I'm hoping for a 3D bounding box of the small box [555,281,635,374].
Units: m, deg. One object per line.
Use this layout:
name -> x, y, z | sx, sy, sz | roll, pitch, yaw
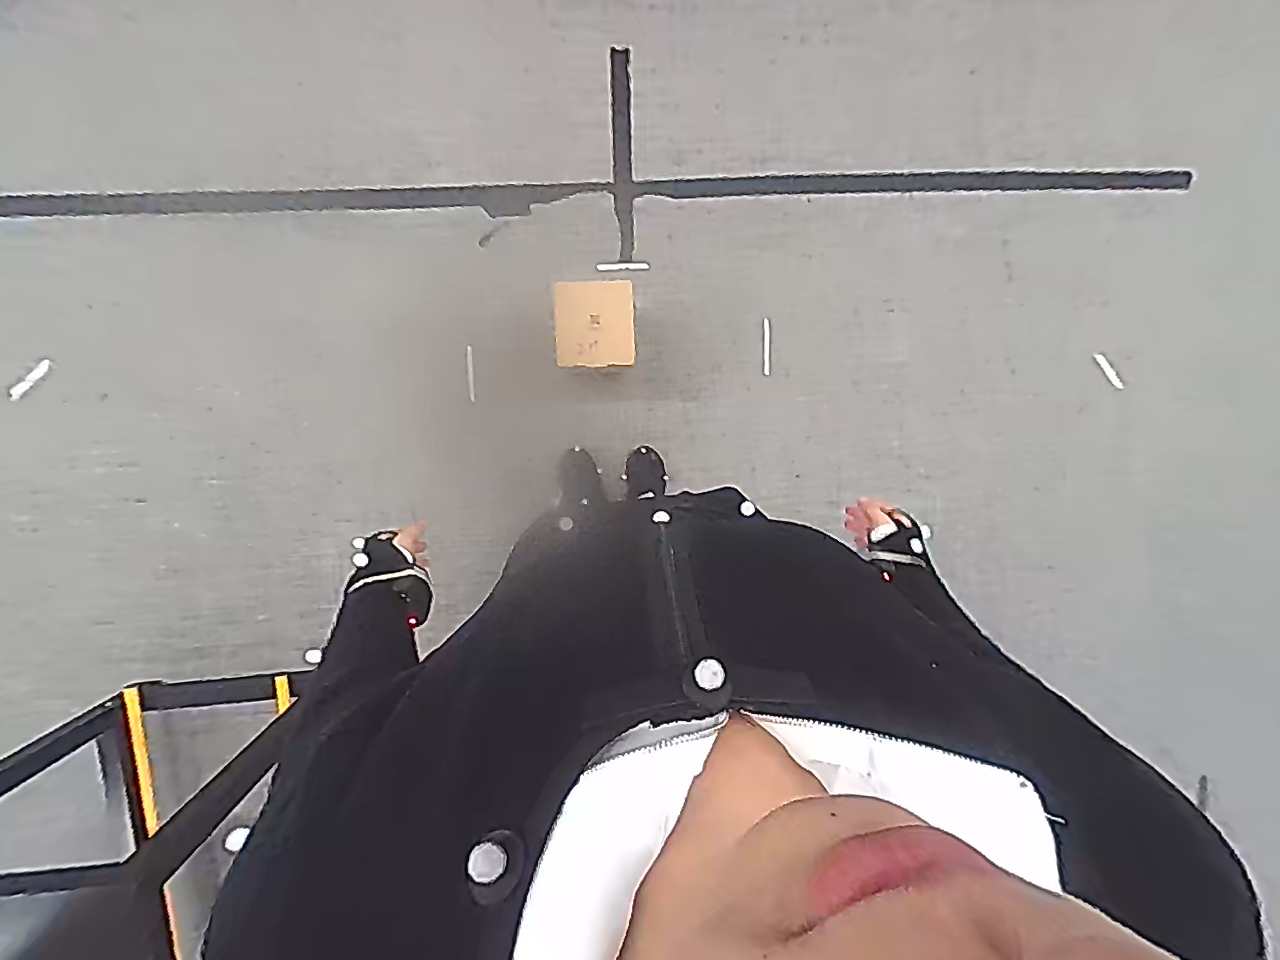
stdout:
small box -> -0.099, -0.332, 1.203 | 0.168, 0.176, 0.179 | -2, 97, -3
